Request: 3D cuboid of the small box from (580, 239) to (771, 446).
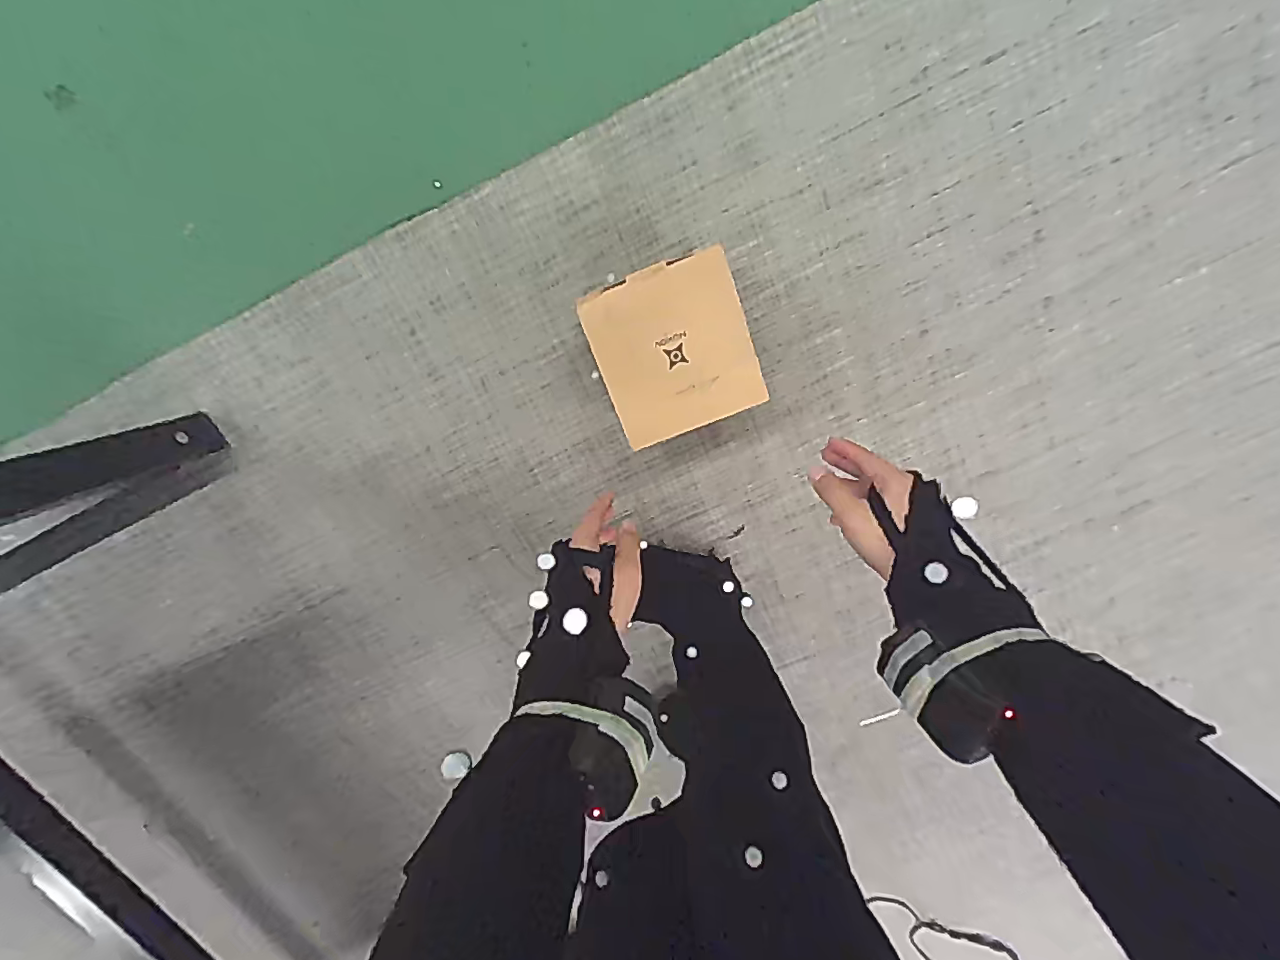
[{"bbox_3d":[0.038,-0.165,0.655,0.168,0.176,0.179,-21,108,6],"label":"small box"}]
